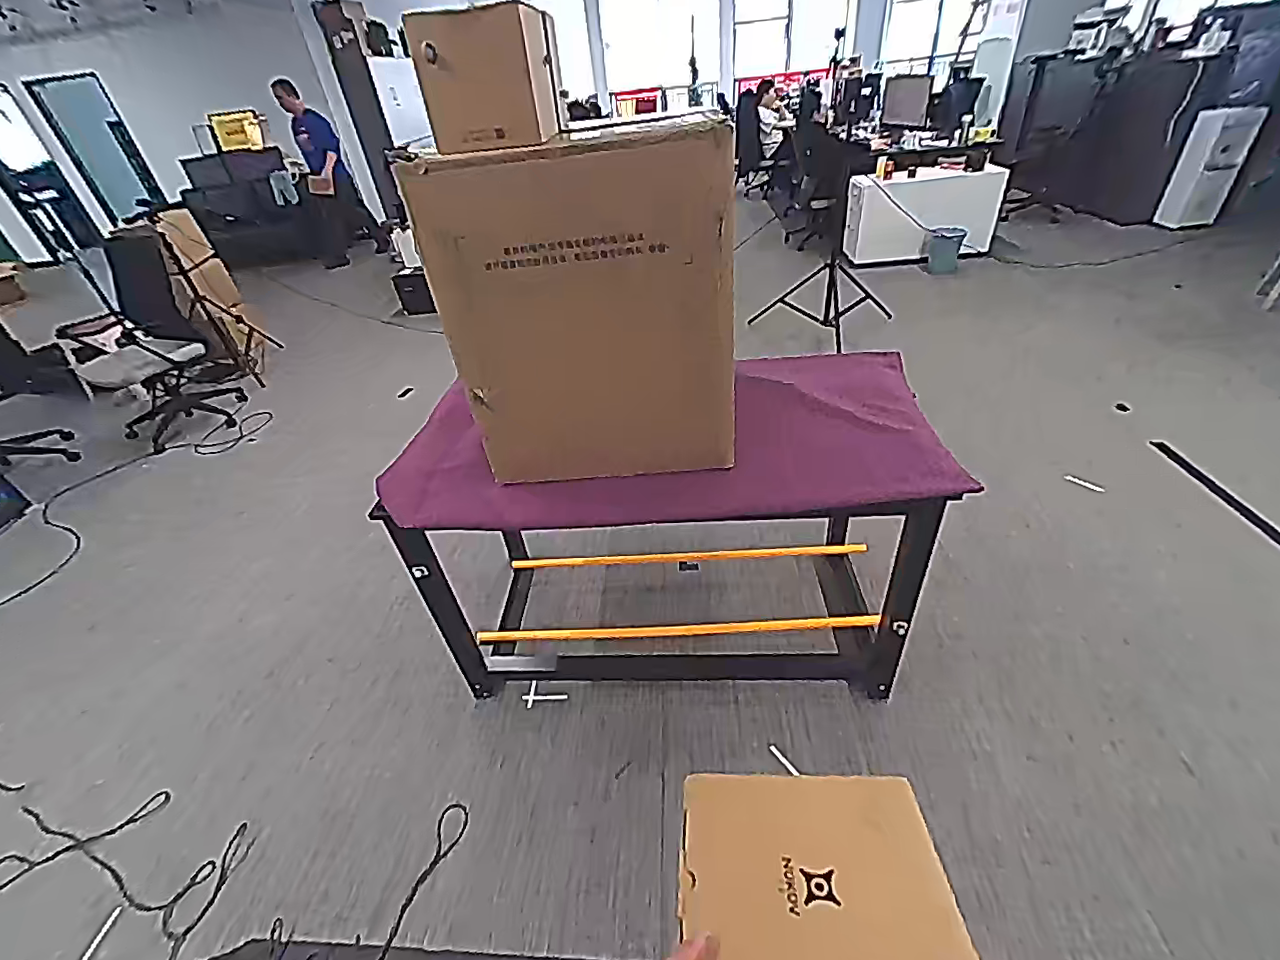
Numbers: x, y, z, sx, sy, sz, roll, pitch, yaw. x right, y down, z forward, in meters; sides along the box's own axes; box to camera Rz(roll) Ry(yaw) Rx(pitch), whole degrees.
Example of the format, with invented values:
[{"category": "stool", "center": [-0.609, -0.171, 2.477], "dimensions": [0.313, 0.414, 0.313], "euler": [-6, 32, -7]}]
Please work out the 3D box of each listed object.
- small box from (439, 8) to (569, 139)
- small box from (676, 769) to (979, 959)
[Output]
[{"category": "small box", "center": [-0.235, -0.730, 0.983], "dimensions": [0.179, 0.176, 0.168], "euler": [-4, 37, 1]}, {"category": "small box", "center": [0.120, 0.338, 0.385], "dimensions": [0.179, 0.176, 0.168], "euler": [-4, 22, 8]}]
